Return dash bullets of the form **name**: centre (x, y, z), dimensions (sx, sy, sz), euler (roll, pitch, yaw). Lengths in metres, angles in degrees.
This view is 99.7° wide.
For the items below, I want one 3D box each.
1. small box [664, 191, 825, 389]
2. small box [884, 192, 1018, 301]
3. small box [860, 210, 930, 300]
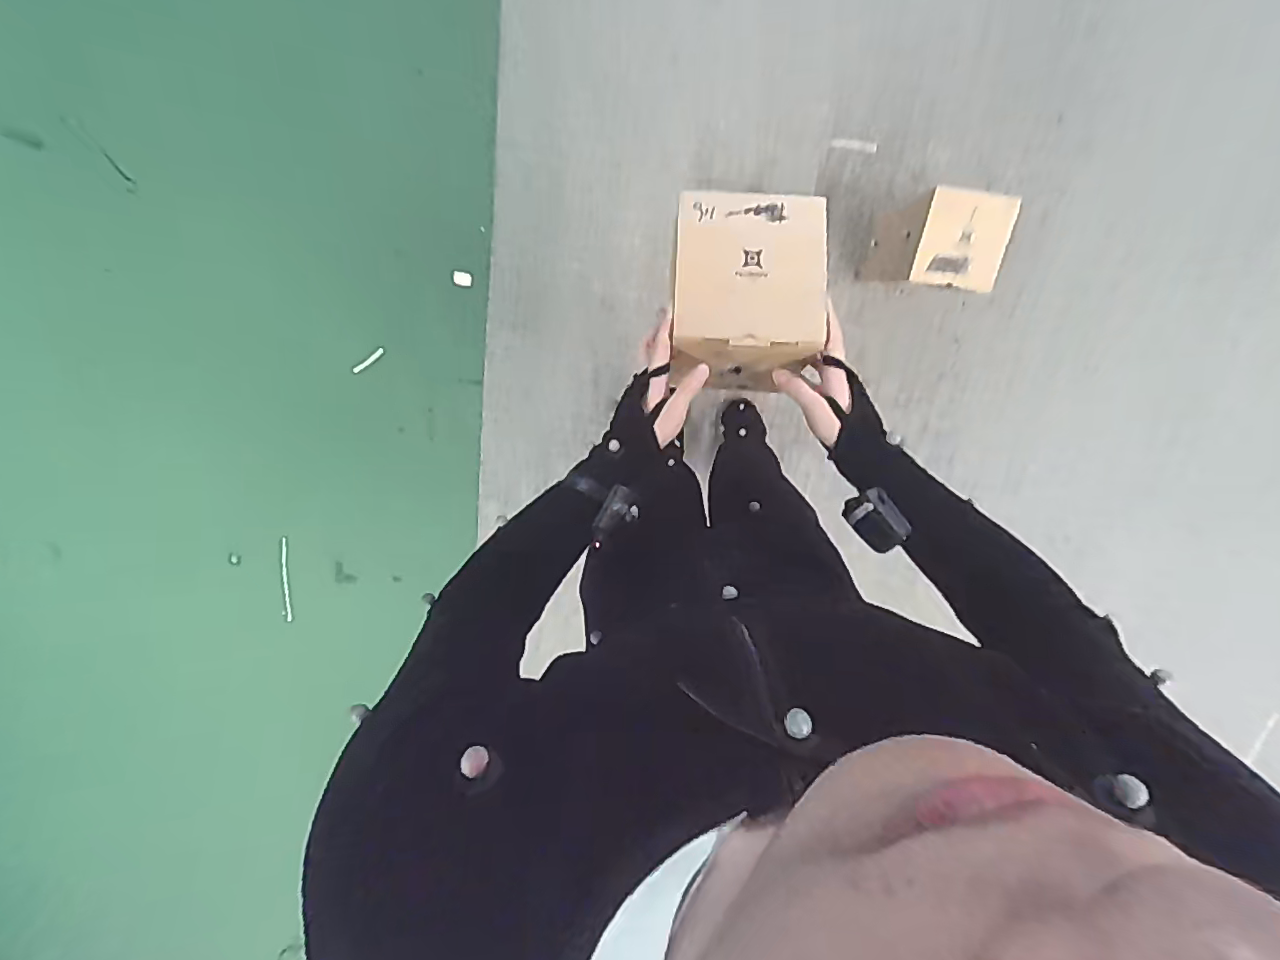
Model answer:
- **small box**: centre (0.117, -0.219, 0.662), dimensions (0.168, 0.176, 0.179), euler (3, 82, 0)
- **small box**: centre (0.635, -0.478, 1.134), dimensions (0.168, 0.176, 0.179), euler (11, 106, 2)
- **small box**: centre (0.648, -0.528, 1.290), dimensions (0.179, 0.176, 0.168), euler (10, 108, 2)
